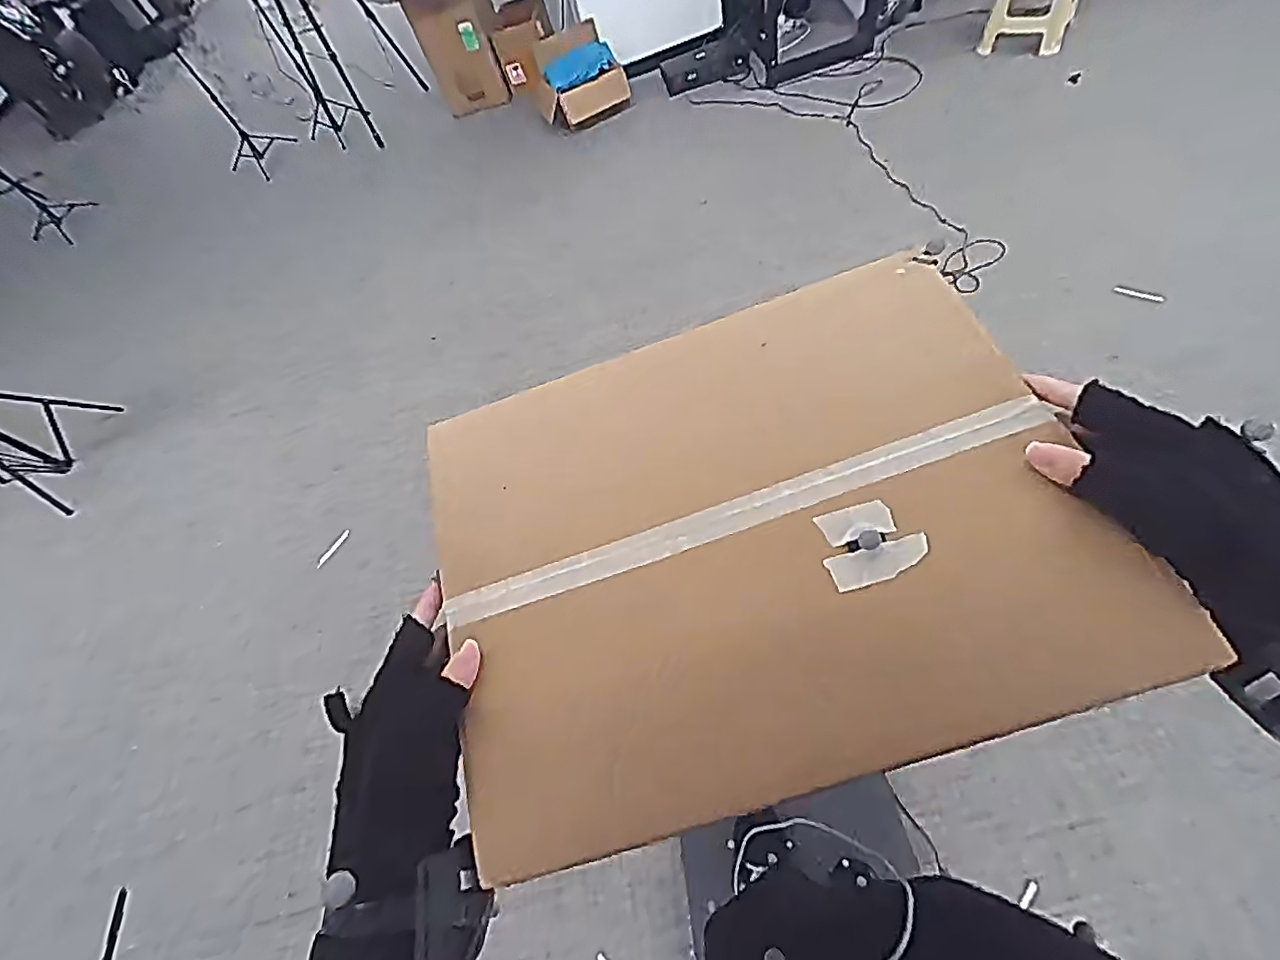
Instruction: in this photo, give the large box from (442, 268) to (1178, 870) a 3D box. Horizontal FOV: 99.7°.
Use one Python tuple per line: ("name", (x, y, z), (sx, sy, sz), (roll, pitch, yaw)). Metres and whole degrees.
("large box", (0.092, 0.090, 0.498), (0.408, 0.320, 0.320), (-20, 64, 3))
